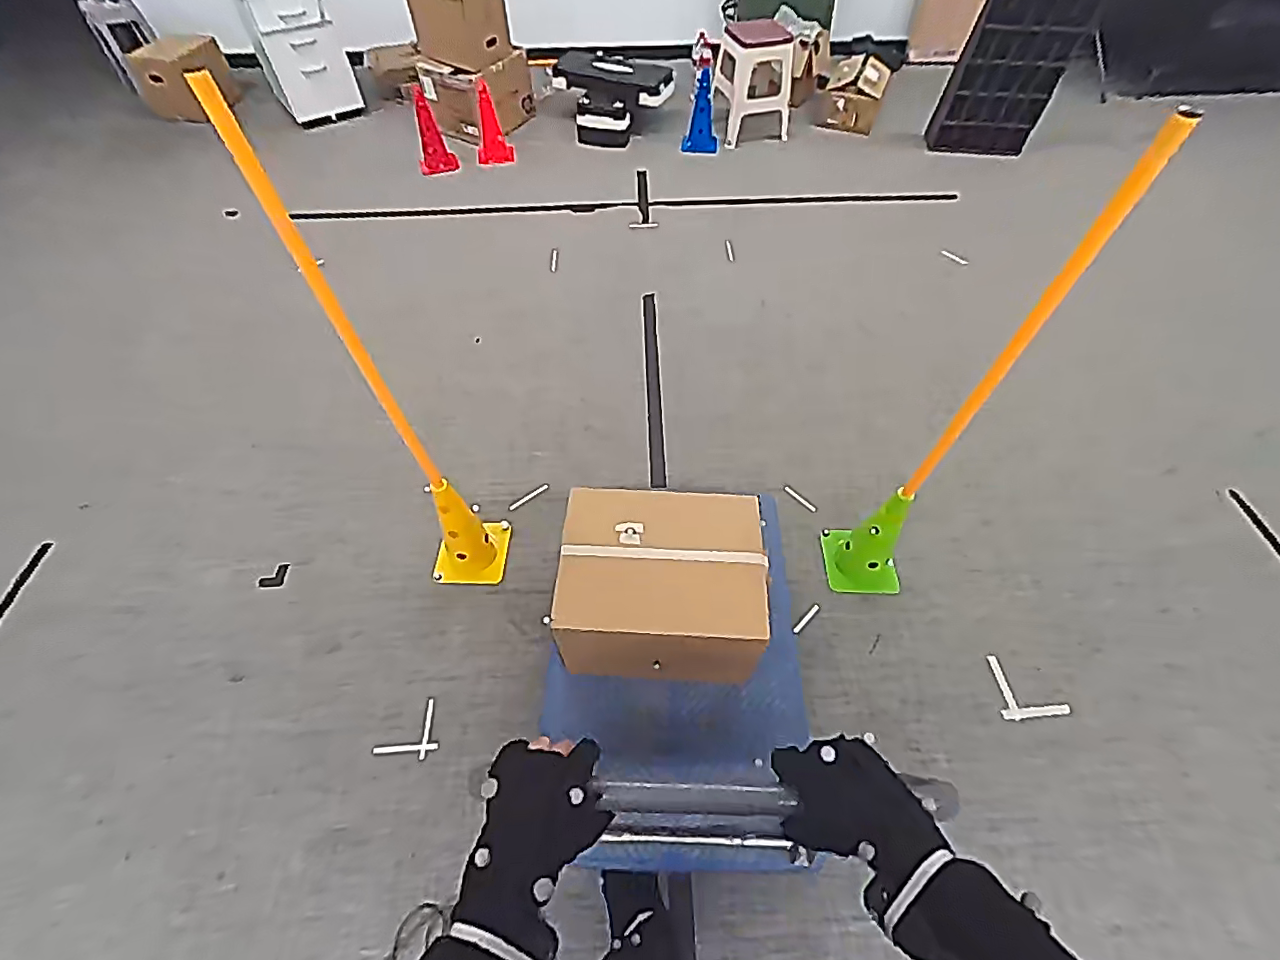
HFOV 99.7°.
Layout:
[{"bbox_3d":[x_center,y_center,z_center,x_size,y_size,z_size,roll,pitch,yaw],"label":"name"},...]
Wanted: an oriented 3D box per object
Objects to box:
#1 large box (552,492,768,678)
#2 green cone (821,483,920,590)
[{"bbox_3d":[0.045,0.239,1.195,0.408,0.320,0.320,2,55,3],"label":"large box"},{"bbox_3d":[0.644,0.130,1.442,0.202,0.368,0.200,2,55,0],"label":"green cone"}]
